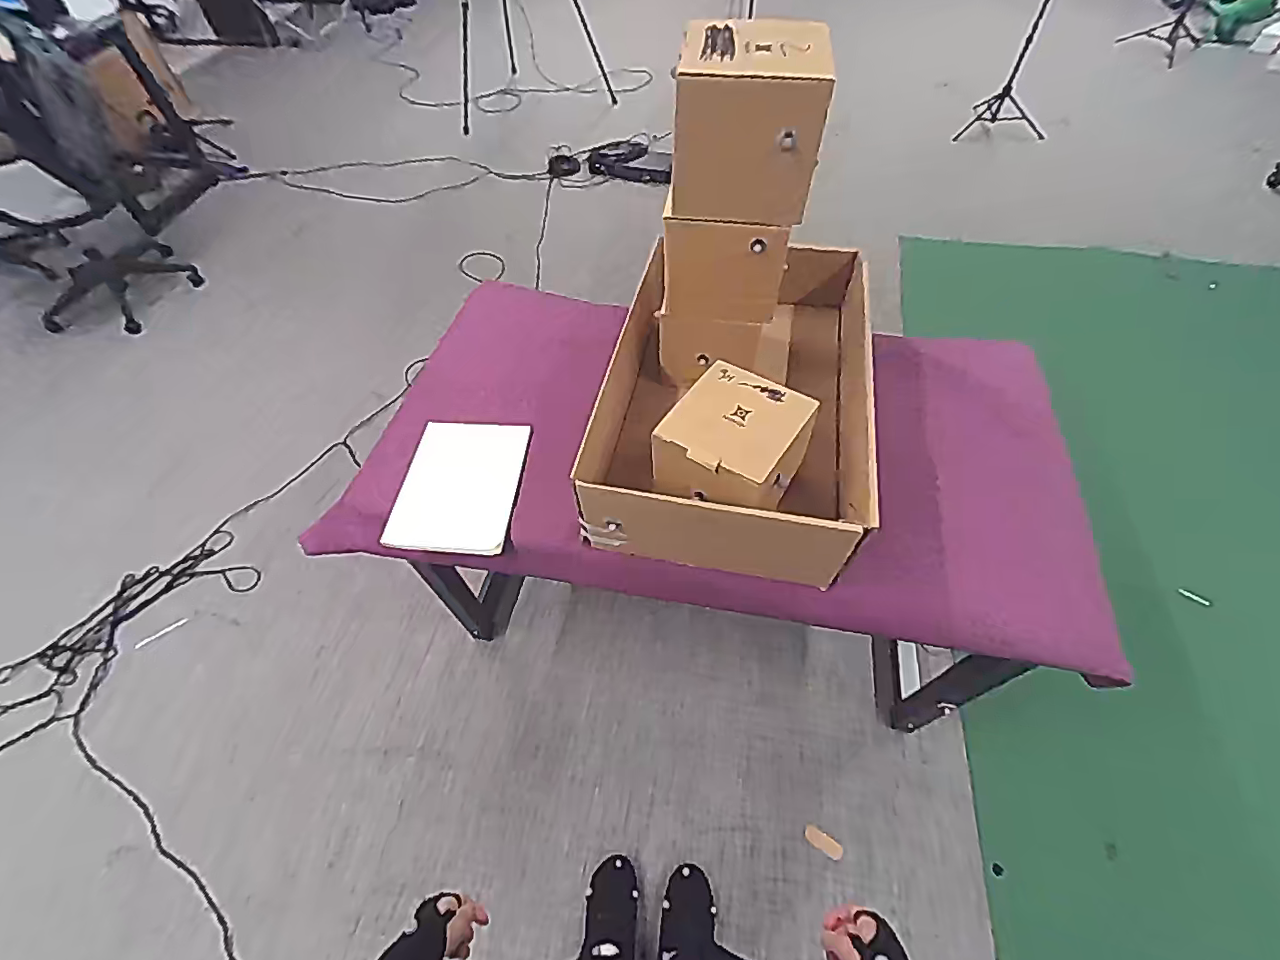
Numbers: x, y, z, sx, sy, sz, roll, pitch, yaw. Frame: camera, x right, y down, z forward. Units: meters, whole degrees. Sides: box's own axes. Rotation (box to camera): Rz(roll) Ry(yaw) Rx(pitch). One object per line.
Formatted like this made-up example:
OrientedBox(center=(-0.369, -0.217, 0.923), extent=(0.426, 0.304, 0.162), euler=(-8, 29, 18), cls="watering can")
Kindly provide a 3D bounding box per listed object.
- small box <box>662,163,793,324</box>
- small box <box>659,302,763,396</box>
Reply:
OrientedBox(center=(0.132, -0.362, 0.837), extent=(0.179, 0.176, 0.168), euler=(7, 57, 7), cls="small box")
OrientedBox(center=(0.134, -0.274, 0.972), extent=(0.168, 0.176, 0.179), euler=(9, 57, 9), cls="small box")
